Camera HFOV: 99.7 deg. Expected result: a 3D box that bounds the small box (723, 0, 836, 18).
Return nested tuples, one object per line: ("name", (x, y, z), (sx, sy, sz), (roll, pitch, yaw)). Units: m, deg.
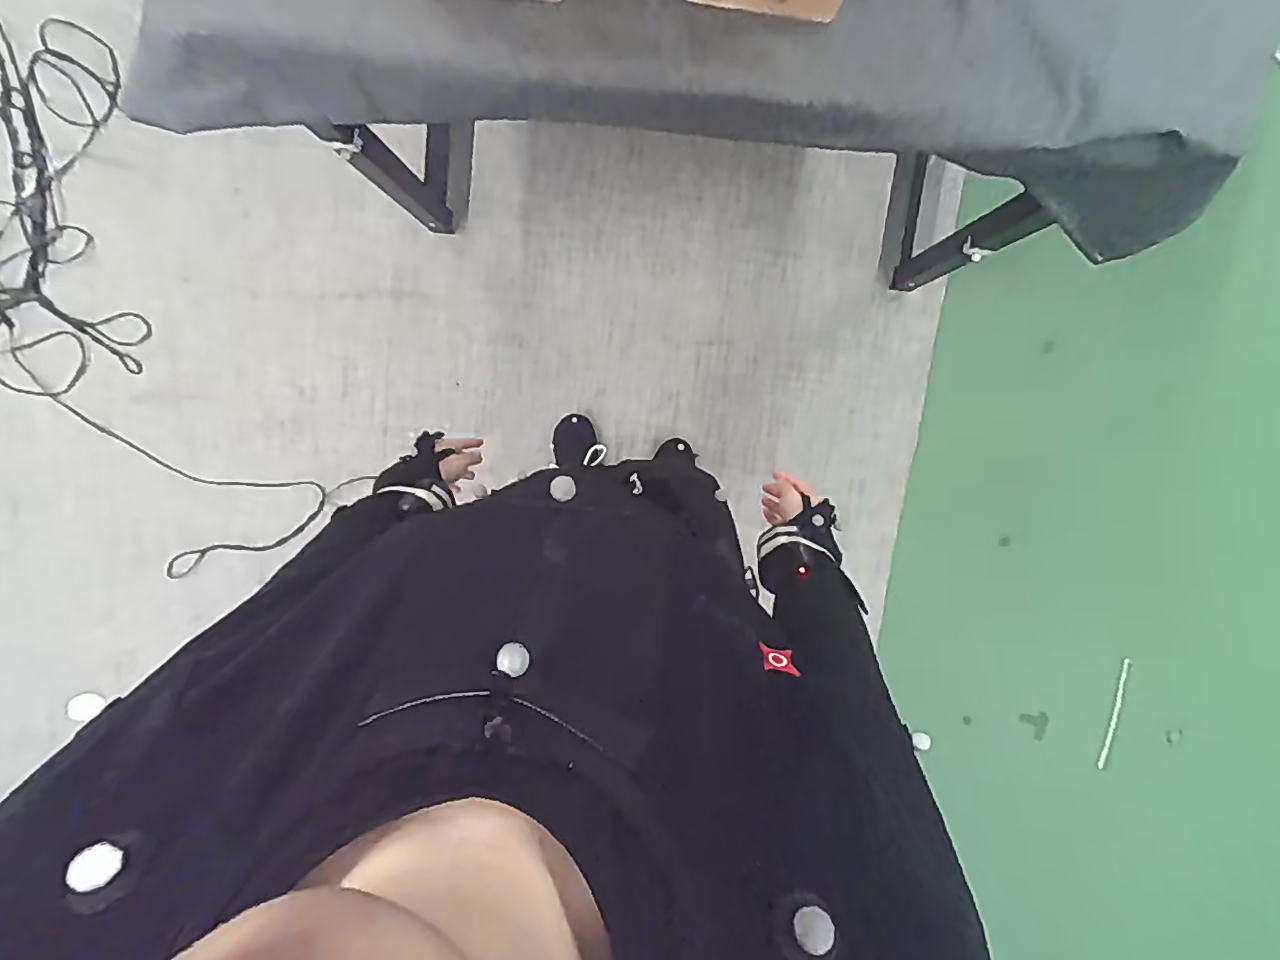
("small box", (0.136, -0.579, 0.485), (0.168, 0.176, 0.179), (8, 97, -1))
